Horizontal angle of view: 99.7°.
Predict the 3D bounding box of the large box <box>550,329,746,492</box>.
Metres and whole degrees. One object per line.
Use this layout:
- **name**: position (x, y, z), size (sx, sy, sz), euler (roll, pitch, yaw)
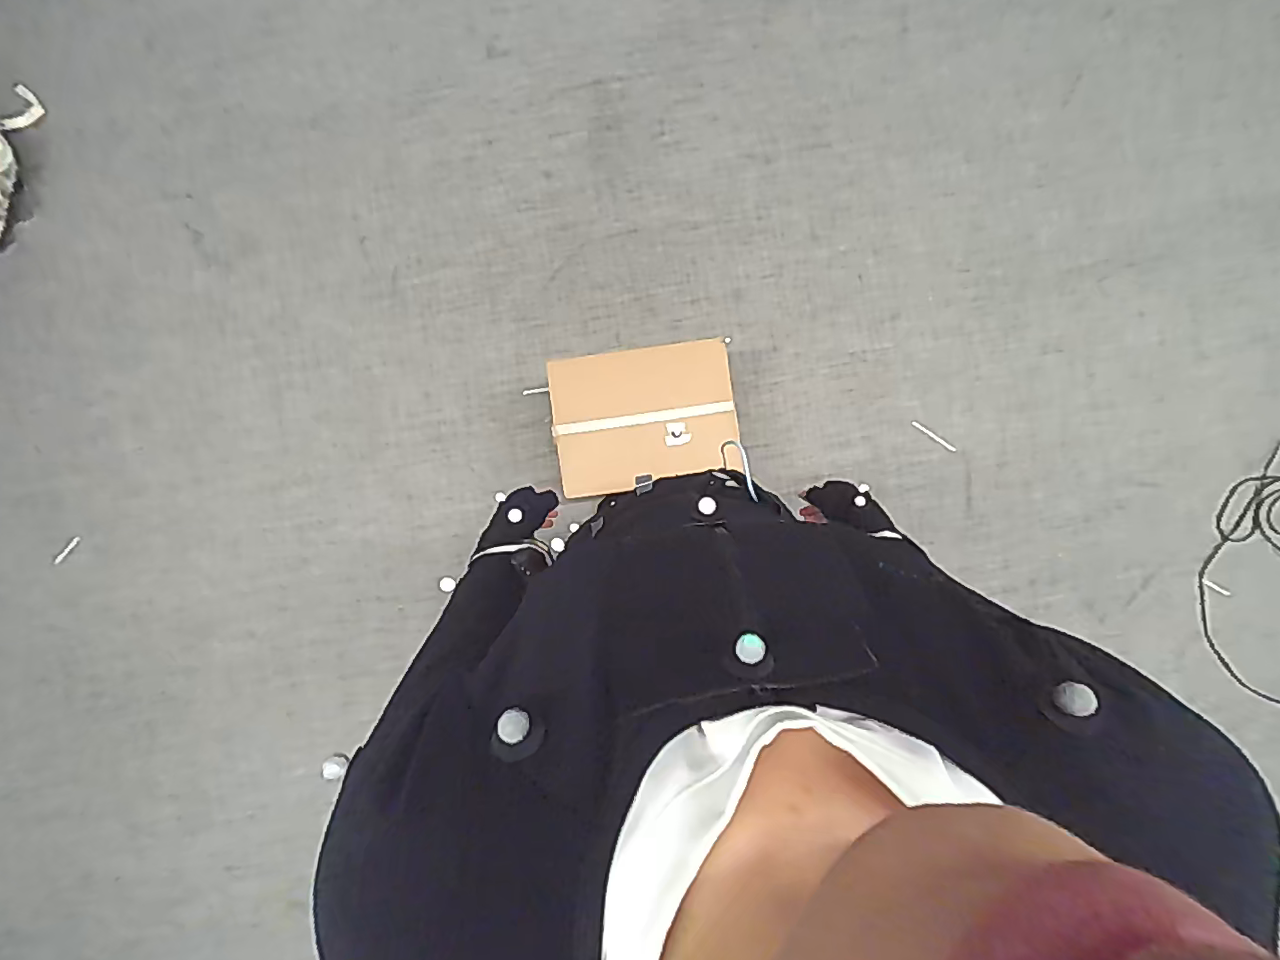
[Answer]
- **large box**: position (0.016, -0.152, 1.343), size (0.408, 0.320, 0.320), euler (-8, 90, 0)
